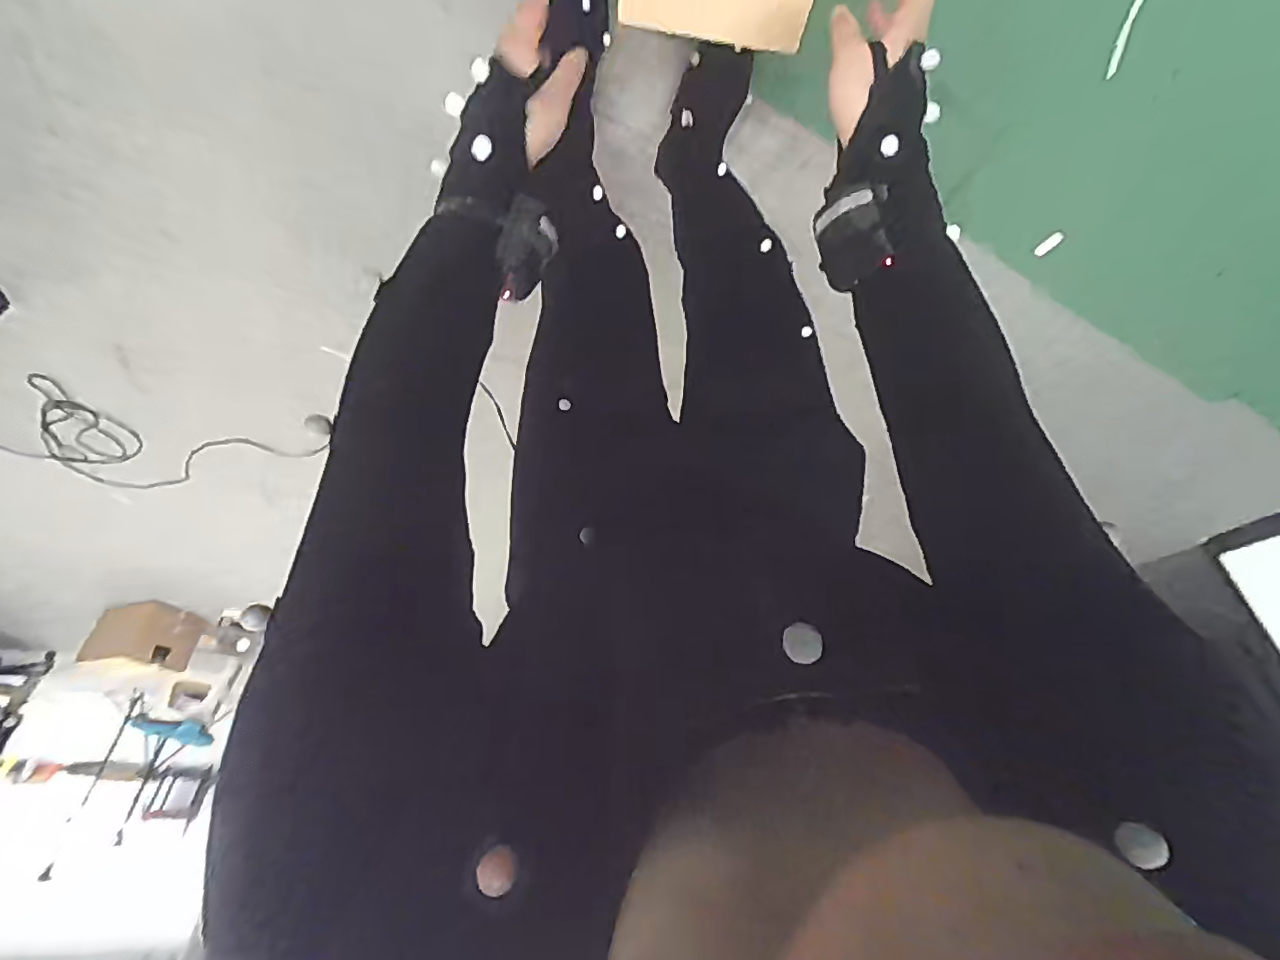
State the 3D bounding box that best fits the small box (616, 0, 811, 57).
[{"bbox_3d":[0.074,-0.506,0.458,0.168,0.176,0.179,5,145,-6],"label":"small box"}]
